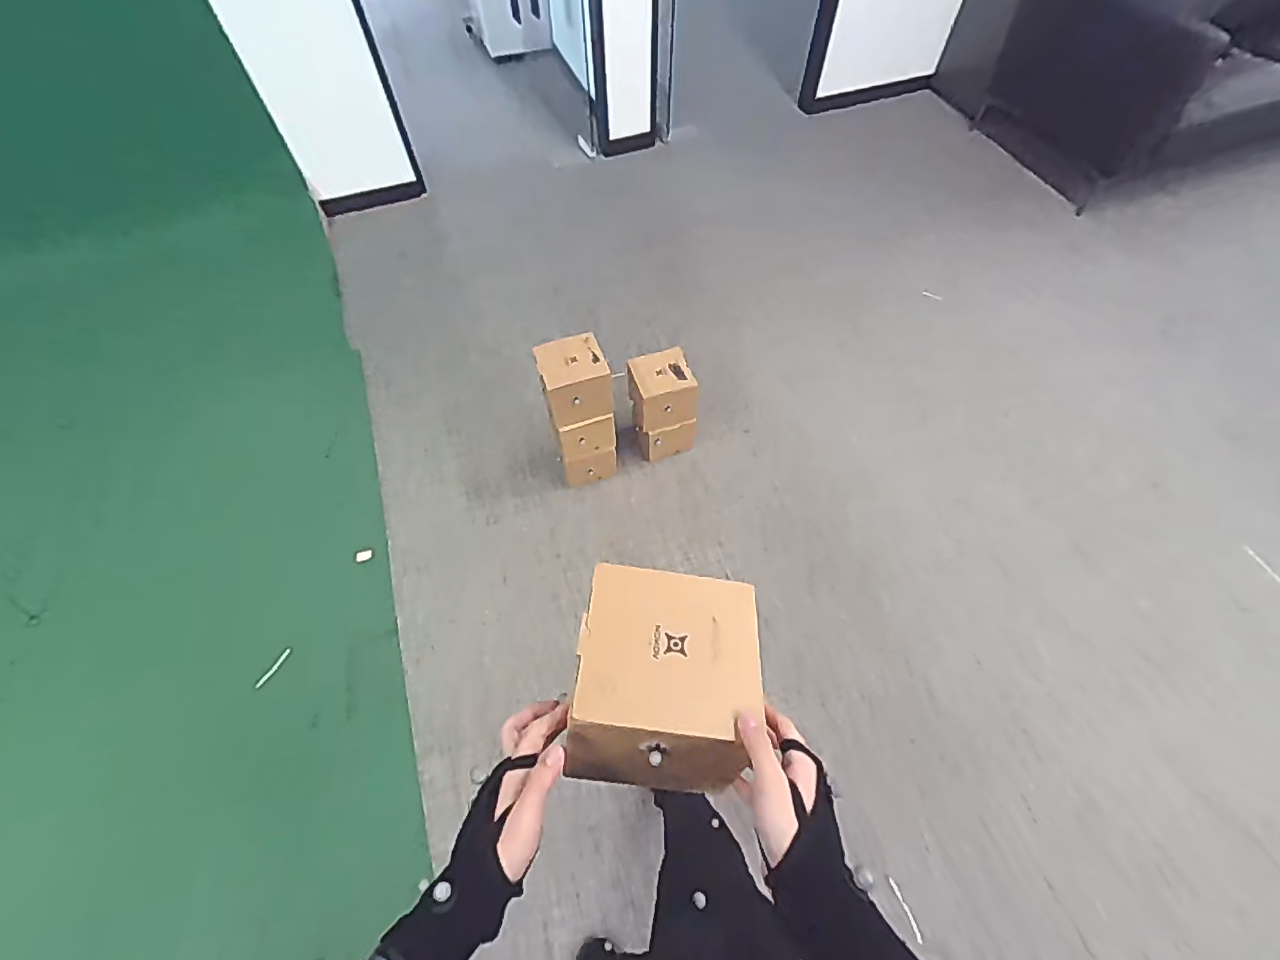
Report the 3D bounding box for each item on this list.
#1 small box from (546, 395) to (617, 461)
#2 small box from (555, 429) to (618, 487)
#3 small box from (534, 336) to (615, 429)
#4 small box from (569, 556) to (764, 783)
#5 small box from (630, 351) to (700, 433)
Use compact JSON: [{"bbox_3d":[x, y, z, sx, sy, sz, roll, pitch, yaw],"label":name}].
[{"bbox_3d":[-0.175,-0.177,1.651,0.168,0.176,0.179,-19,60,-10],"label":"small box"},{"bbox_3d":[-0.174,-0.093,1.789,0.168,0.176,0.179,-16,60,-9],"label":"small box"},{"bbox_3d":[-0.179,-0.267,1.513,0.179,0.176,0.168,-18,60,-9],"label":"small box"},{"bbox_3d":[0.022,0.208,0.585,0.179,0.176,0.168,9,45,-2],"label":"small box"},{"bbox_3d":[0.073,-0.273,1.703,0.179,0.176,0.168,-16,59,-8],"label":"small box"}]
